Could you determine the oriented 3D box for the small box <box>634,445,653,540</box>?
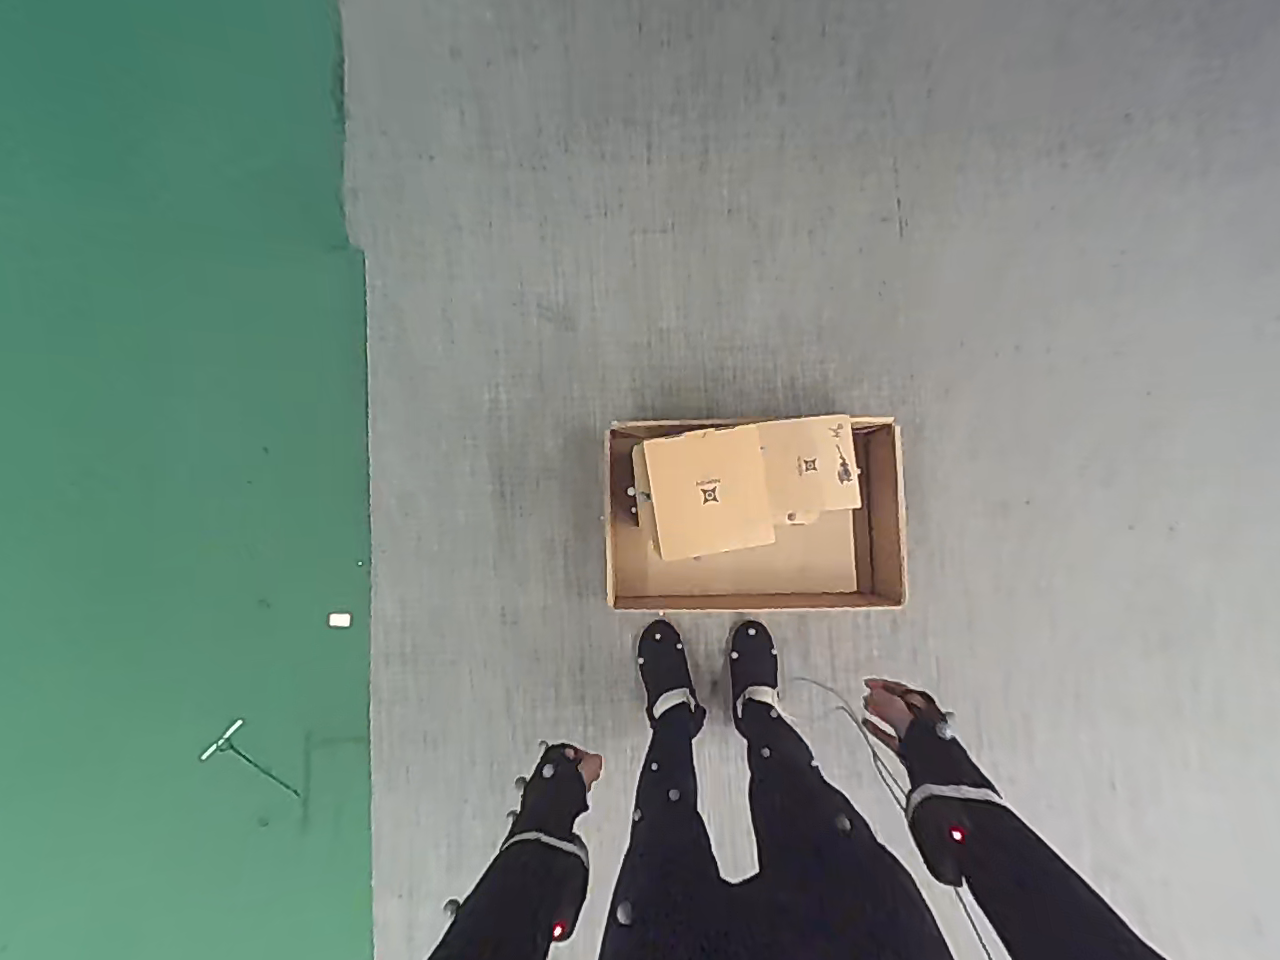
[{"bbox_3d":[0.082,0.017,1.002,0.179,0.176,0.168,-5,88,0],"label":"small box"}]

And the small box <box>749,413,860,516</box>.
[{"bbox_3d":[0.284,-0.021,1.003,0.179,0.176,0.168,-6,86,2],"label":"small box"}]

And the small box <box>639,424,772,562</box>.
[{"bbox_3d":[0.093,0.020,0.840,0.168,0.176,0.179,-9,87,-1],"label":"small box"}]
